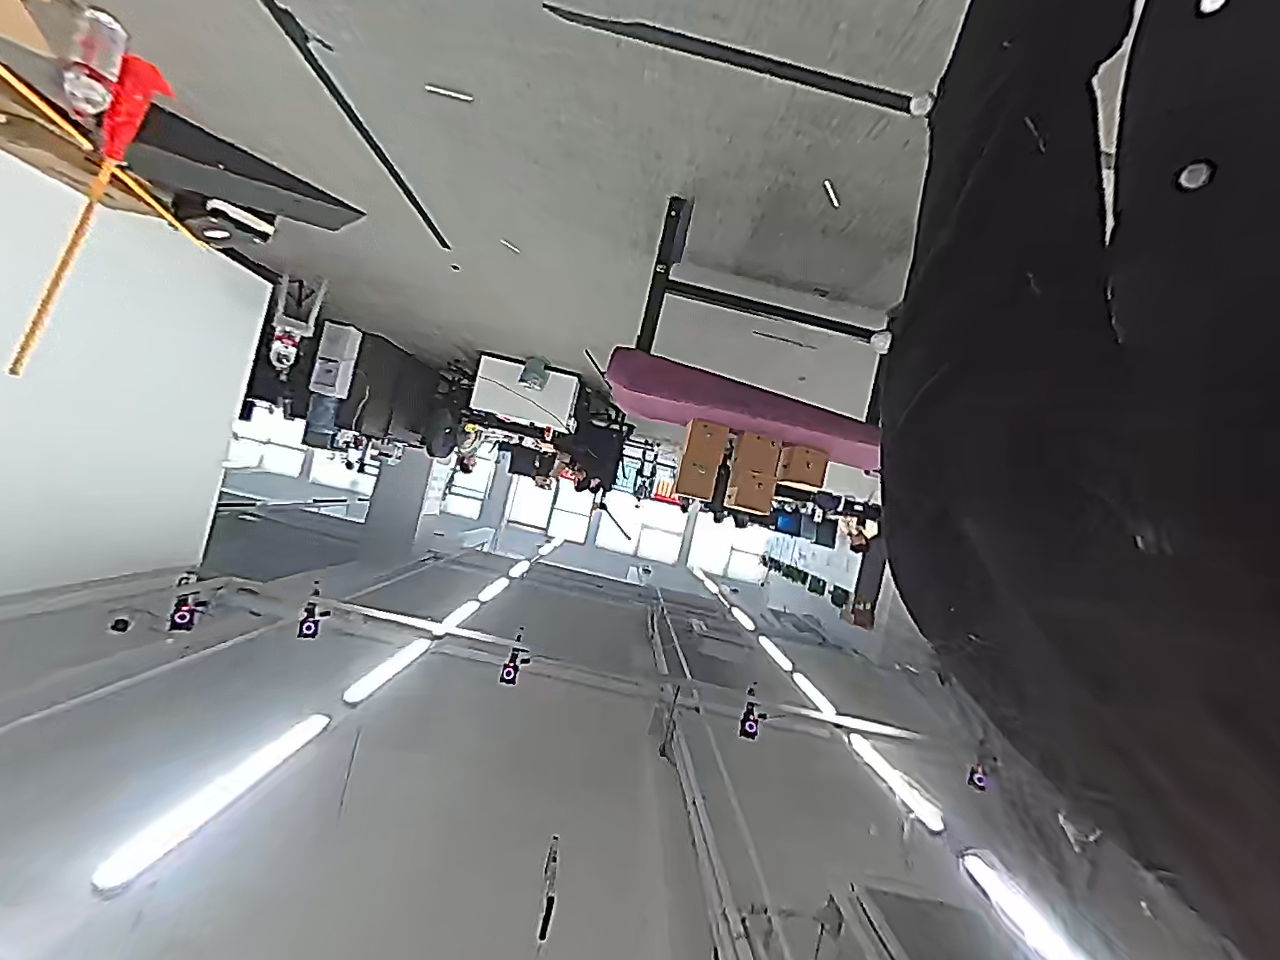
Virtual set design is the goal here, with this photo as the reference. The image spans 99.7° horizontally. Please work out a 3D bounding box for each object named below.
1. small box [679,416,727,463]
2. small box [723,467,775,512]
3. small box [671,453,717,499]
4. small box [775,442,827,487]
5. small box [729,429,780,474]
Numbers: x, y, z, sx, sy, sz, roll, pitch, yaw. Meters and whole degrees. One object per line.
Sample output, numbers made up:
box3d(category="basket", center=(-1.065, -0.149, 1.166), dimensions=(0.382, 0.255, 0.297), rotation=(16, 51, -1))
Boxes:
box3d(category="small box", center=(0.279, -0.175, 2.390), dimensions=(0.168, 0.176, 0.179), rotation=(12, 177, -3))
box3d(category="small box", center=(0.482, 0.038, 2.381), dimensions=(0.168, 0.176, 0.179), rotation=(13, 177, -5))
box3d(category="small box", center=(0.238, -0.018, 2.389), dimensions=(0.168, 0.176, 0.179), rotation=(12, 177, 0))
box3d(category="small box", center=(0.730, -0.070, 2.443), dimensions=(0.168, 0.176, 0.179), rotation=(13, 176, -4))
box3d(category="small box", center=(0.505, -0.124, 2.380), dimensions=(0.168, 0.176, 0.179), rotation=(13, 178, -2))
